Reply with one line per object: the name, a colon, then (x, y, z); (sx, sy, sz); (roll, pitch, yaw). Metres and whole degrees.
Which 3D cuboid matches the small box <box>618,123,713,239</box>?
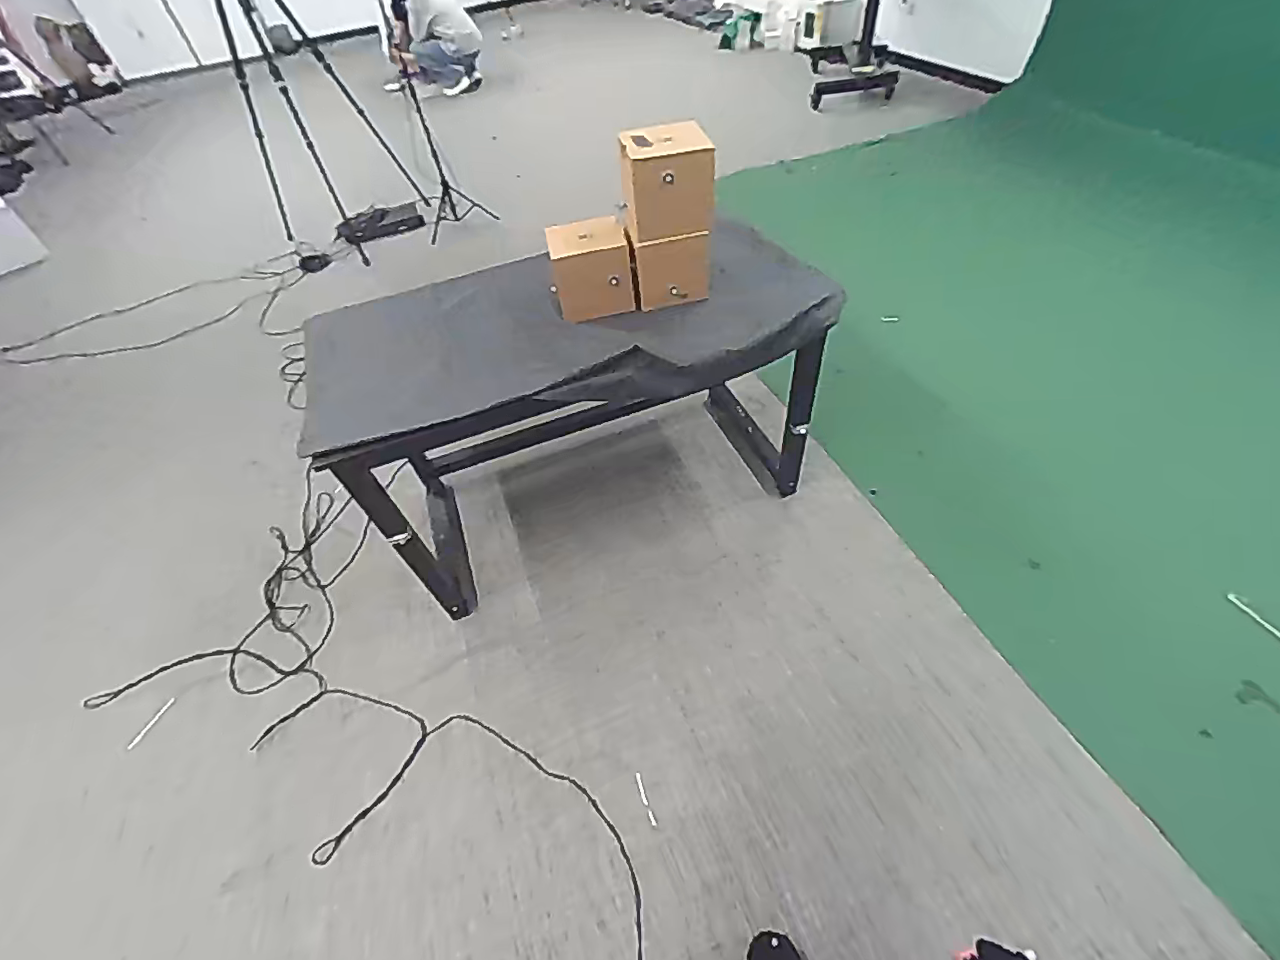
small box: (0.058, -0.652, 1.187); (0.179, 0.176, 0.168); (-12, 51, -3)
